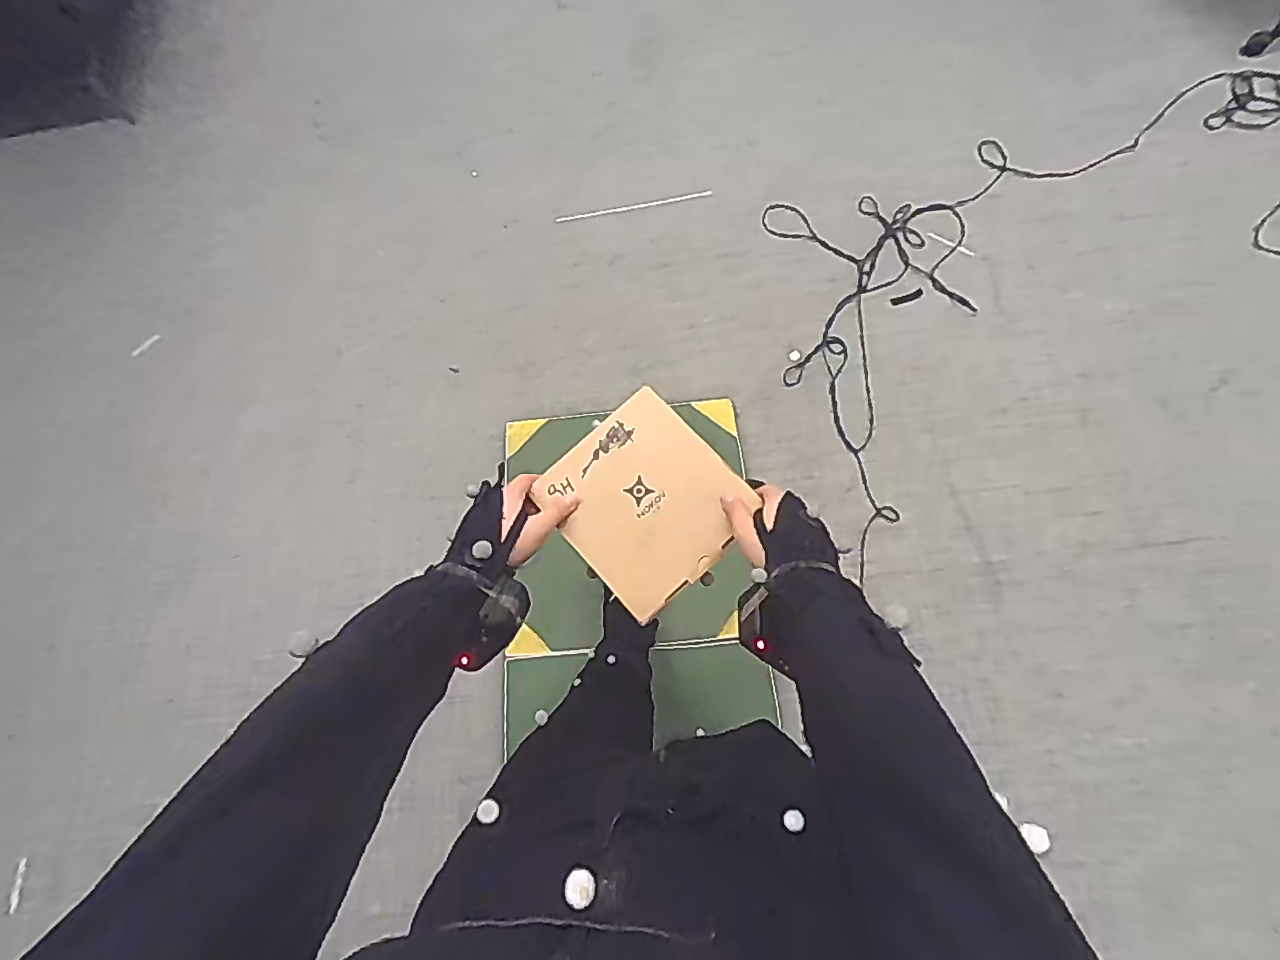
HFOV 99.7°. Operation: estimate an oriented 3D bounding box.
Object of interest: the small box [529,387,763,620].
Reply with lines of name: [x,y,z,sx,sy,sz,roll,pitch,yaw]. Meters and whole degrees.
small box: [0.009,0.034,0.607,0.168,0.176,0.179,-42,78,-7]
